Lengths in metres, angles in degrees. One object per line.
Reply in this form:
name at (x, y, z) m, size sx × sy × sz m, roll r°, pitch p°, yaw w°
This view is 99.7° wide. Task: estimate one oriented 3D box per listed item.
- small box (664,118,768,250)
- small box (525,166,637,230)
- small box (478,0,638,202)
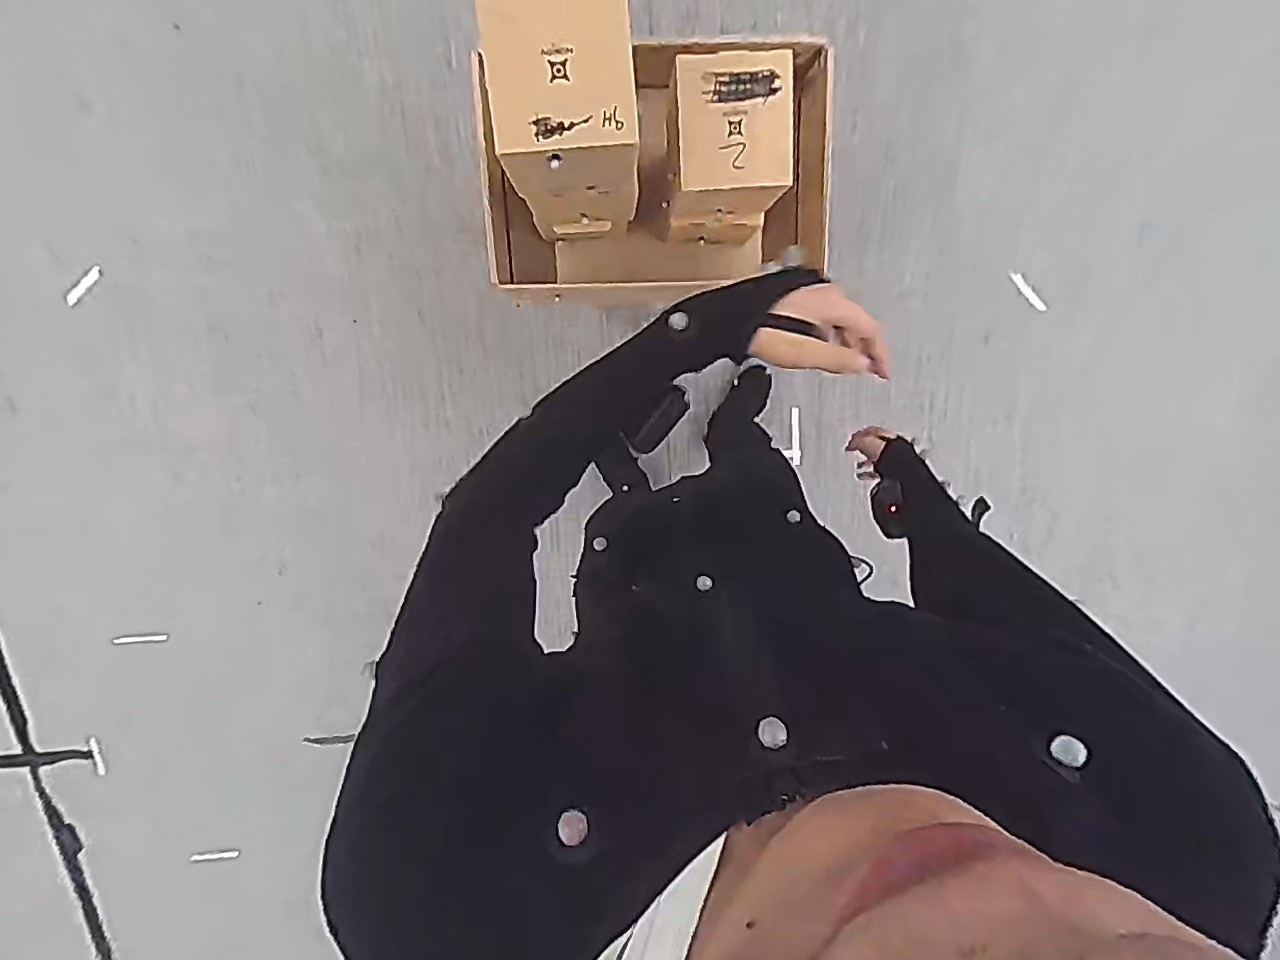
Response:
small box at (0.133, -0.542, 1.010) m, size 0.168 × 0.176 × 0.179 m, roll 0°, pitch 103°, yaw -2°
small box at (-0.095, -0.505, 0.837) m, size 0.168 × 0.176 × 0.179 m, roll -5°, pitch 103°, yaw -2°
small box at (-0.094, -0.471, 0.675) m, size 0.168 × 0.176 × 0.179 m, roll -5°, pitch 101°, yaw -2°
